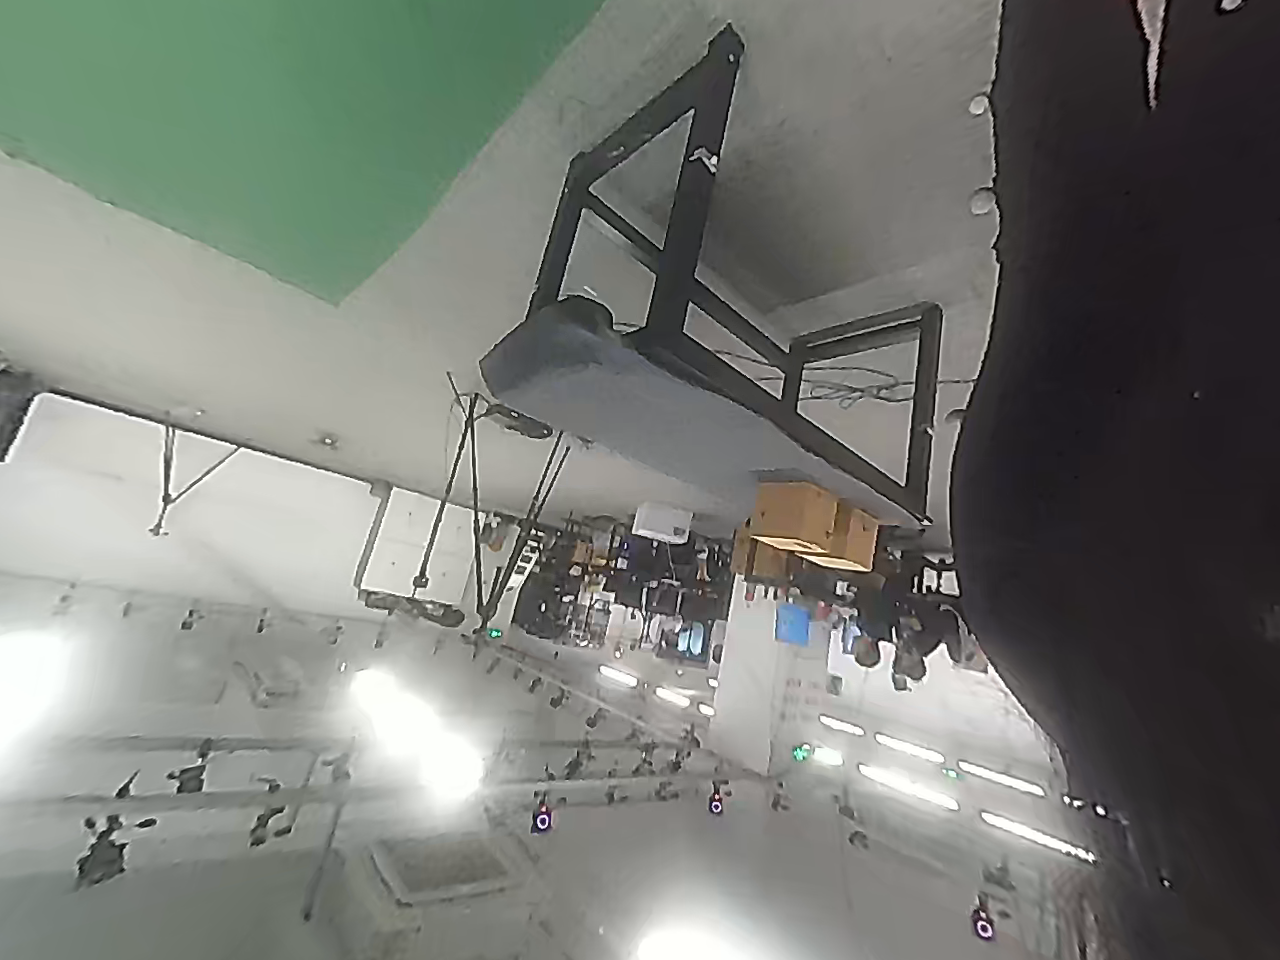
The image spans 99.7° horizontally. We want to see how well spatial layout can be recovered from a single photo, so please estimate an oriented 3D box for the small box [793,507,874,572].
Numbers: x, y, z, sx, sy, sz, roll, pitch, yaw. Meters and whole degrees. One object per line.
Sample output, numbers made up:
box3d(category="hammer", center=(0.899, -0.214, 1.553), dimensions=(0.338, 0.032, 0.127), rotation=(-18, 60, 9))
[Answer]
box3d(category="small box", center=(0.621, 0.186, 1.726), dimensions=(0.168, 0.176, 0.179), rotation=(23, 164, -37))
